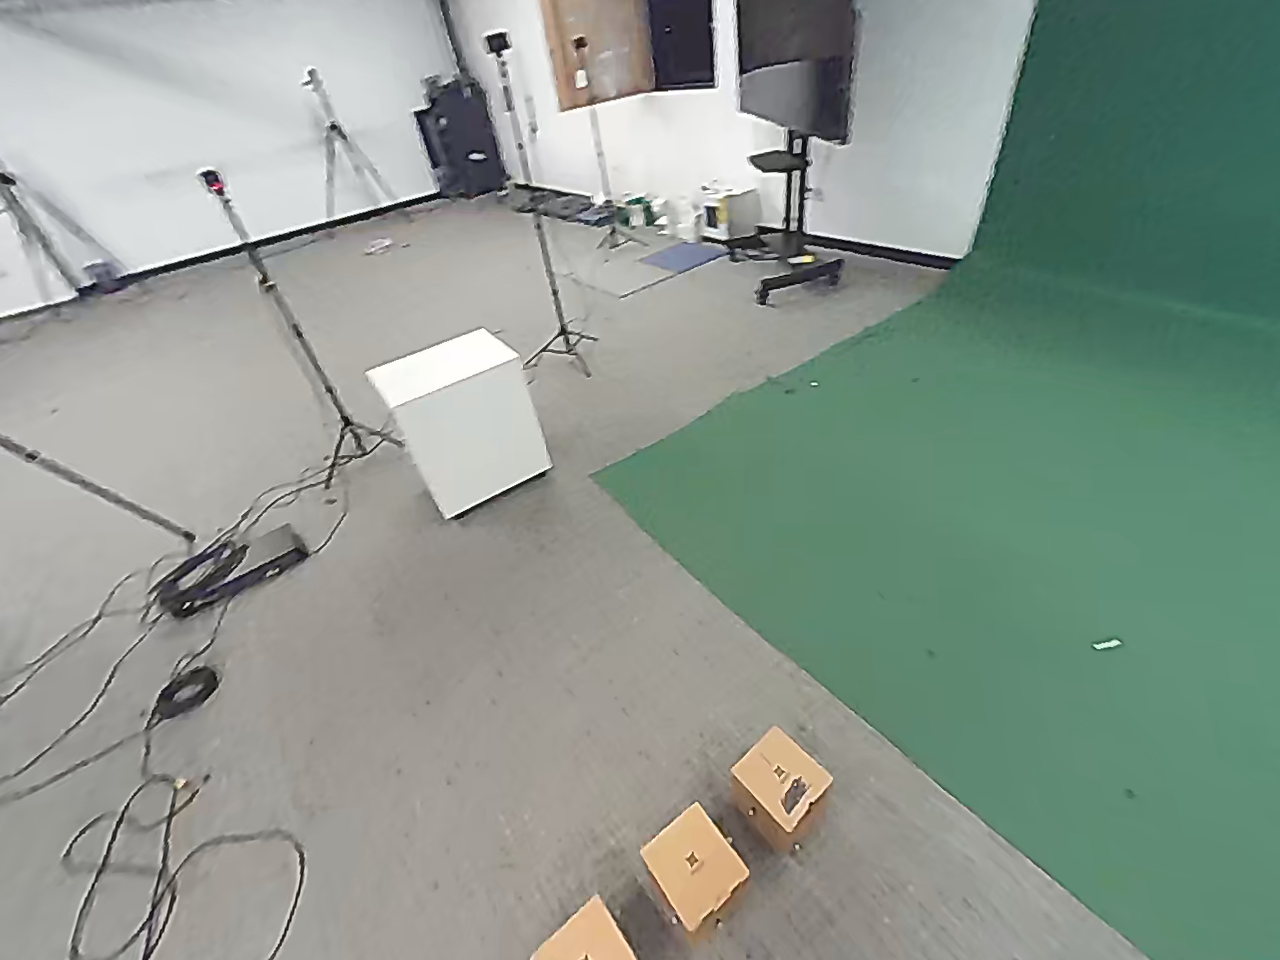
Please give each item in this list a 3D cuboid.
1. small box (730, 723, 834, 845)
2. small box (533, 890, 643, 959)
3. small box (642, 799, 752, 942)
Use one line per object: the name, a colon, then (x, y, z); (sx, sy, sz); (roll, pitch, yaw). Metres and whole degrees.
small box: (0.338, 0.734, 1.298); (0.168, 0.176, 0.179); (-32, 44, -25)
small box: (-0.085, 0.983, 1.080); (0.168, 0.176, 0.179); (-32, 45, -23)
small box: (0.126, 0.860, 1.191); (0.168, 0.176, 0.179); (-29, 44, -23)
